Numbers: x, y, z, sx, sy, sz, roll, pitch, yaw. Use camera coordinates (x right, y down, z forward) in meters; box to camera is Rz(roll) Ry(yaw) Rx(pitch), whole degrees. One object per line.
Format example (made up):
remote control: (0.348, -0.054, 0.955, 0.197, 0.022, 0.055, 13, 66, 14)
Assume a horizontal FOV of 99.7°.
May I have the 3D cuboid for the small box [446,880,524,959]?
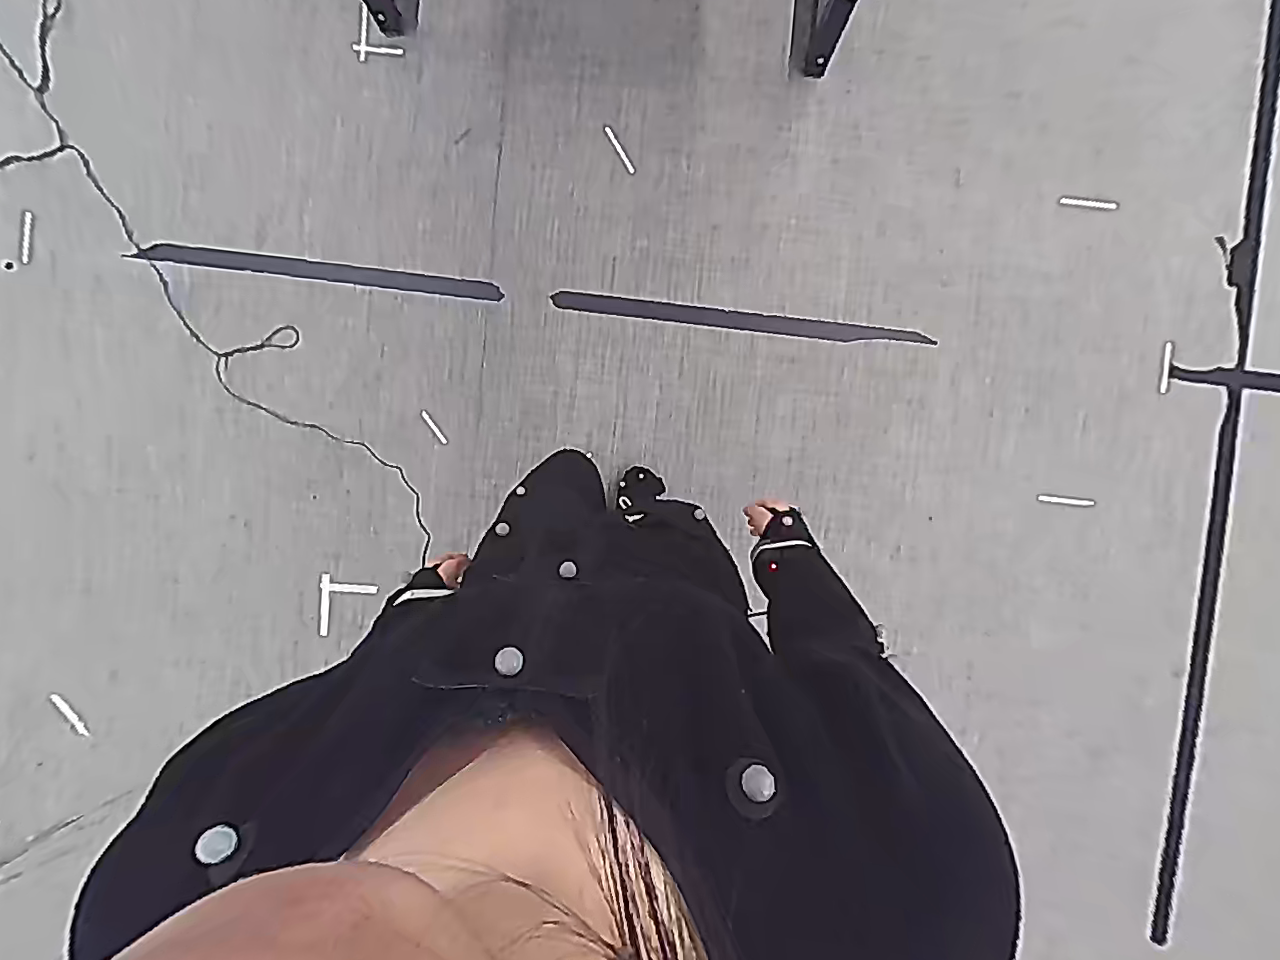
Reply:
small box: (-0.414, 1.226, 1.459, 0.168, 0.176, 0.179, 4, 92, 0)
